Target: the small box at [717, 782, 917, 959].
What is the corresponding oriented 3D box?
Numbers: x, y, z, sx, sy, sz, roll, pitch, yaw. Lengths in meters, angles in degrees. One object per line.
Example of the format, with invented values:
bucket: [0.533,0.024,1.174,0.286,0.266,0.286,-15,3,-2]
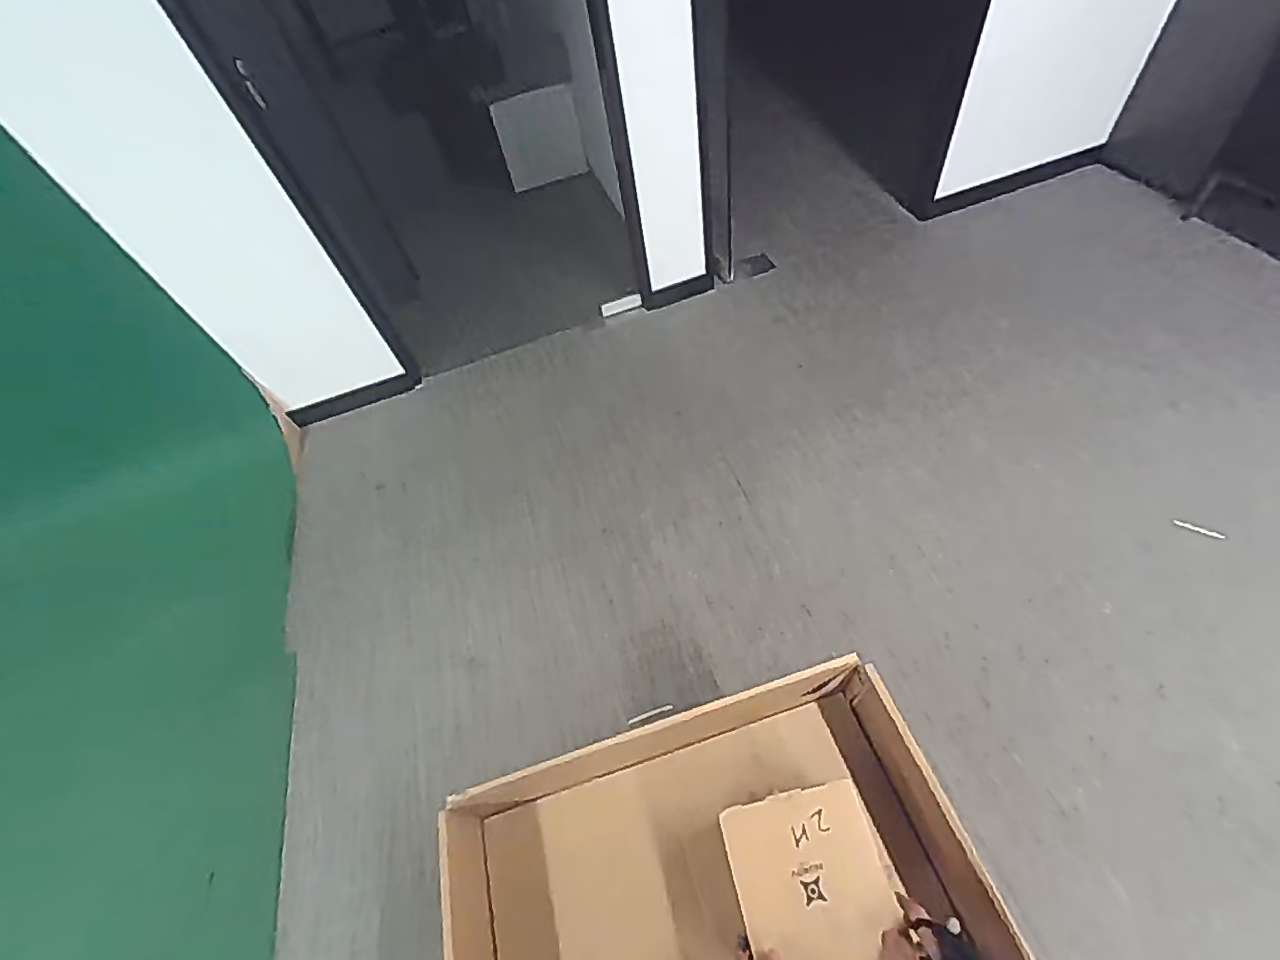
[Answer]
small box: [0.197,0.484,0.644,0.168,0.176,0.179,-14,52,1]
